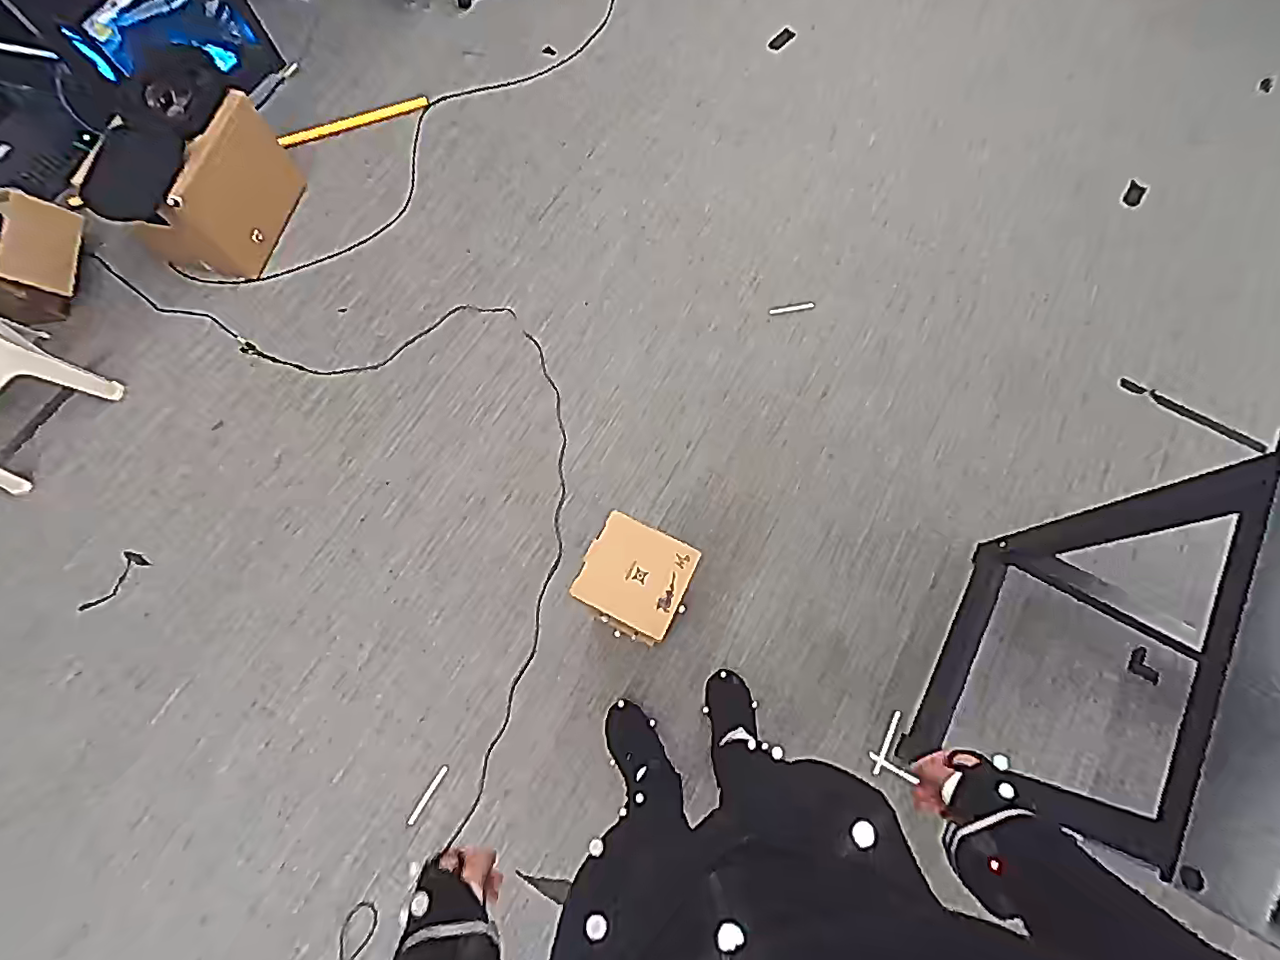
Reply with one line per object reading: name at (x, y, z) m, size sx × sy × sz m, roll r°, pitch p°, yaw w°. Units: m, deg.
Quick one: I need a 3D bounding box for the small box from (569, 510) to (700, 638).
small box at (-0.008, 0.182, 0.995) m, size 0.179 × 0.176 × 0.168 m, roll 25°, pitch 74°, yaw 8°

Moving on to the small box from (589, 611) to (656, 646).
small box at (-0.007, 0.283, 1.305) m, size 0.168 × 0.176 × 0.179 m, roll 25°, pitch 75°, yaw 9°
